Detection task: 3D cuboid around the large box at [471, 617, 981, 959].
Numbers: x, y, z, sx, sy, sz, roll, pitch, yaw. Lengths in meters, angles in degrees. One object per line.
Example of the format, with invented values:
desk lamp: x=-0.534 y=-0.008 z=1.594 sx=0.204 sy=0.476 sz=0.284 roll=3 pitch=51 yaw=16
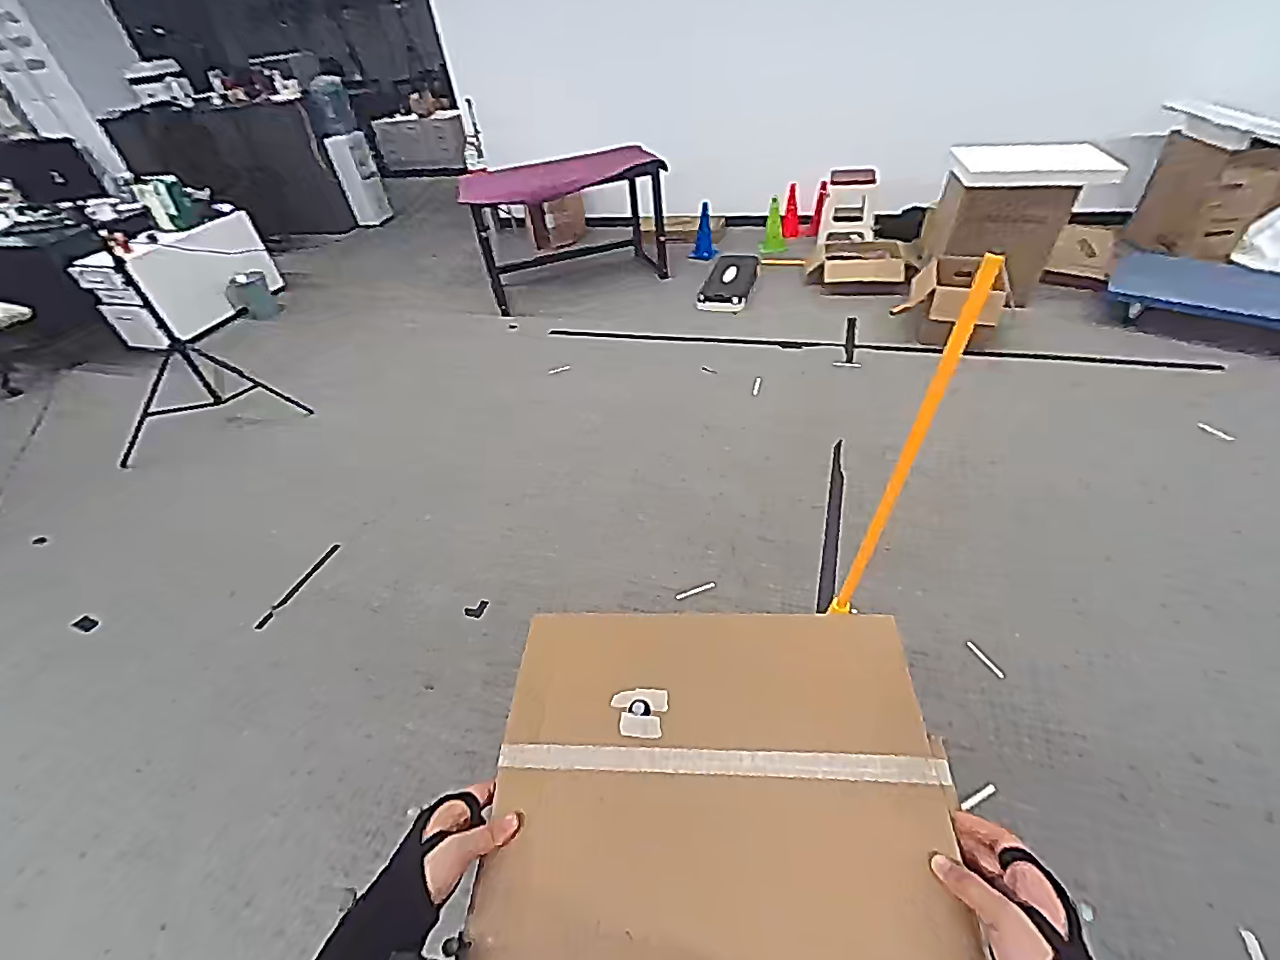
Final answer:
large box: x=0.088 y=0.374 z=0.621 sx=0.408 sy=0.320 sz=0.320 roll=-3 pitch=46 yaw=9
